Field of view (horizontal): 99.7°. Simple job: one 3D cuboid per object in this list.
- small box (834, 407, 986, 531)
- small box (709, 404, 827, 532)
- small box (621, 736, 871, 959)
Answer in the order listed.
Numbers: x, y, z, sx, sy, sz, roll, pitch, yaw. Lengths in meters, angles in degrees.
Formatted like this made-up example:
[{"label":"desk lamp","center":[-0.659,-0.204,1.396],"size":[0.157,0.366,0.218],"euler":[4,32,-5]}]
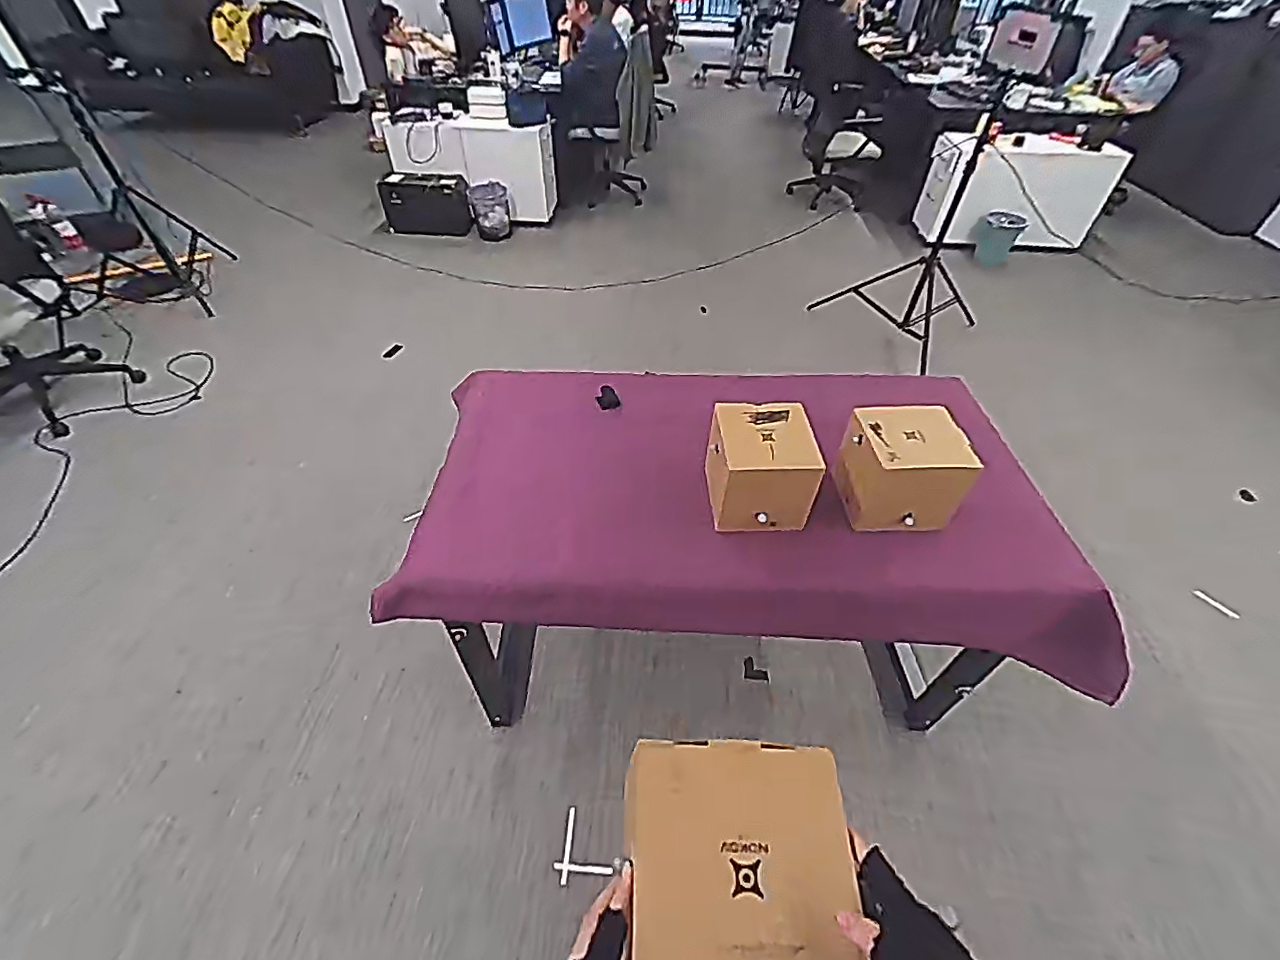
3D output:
[{"label":"small box","center":[0.489,-0.018,1.009],"size":[0.179,0.176,0.168],"euler":[0,45,-2]},{"label":"small box","center":[0.225,-0.022,1.006],"size":[0.168,0.176,0.179],"euler":[-1,46,-2]},{"label":"small box","center":[0.071,0.333,0.455],"size":[0.168,0.176,0.179],"euler":[2,51,-2]}]
